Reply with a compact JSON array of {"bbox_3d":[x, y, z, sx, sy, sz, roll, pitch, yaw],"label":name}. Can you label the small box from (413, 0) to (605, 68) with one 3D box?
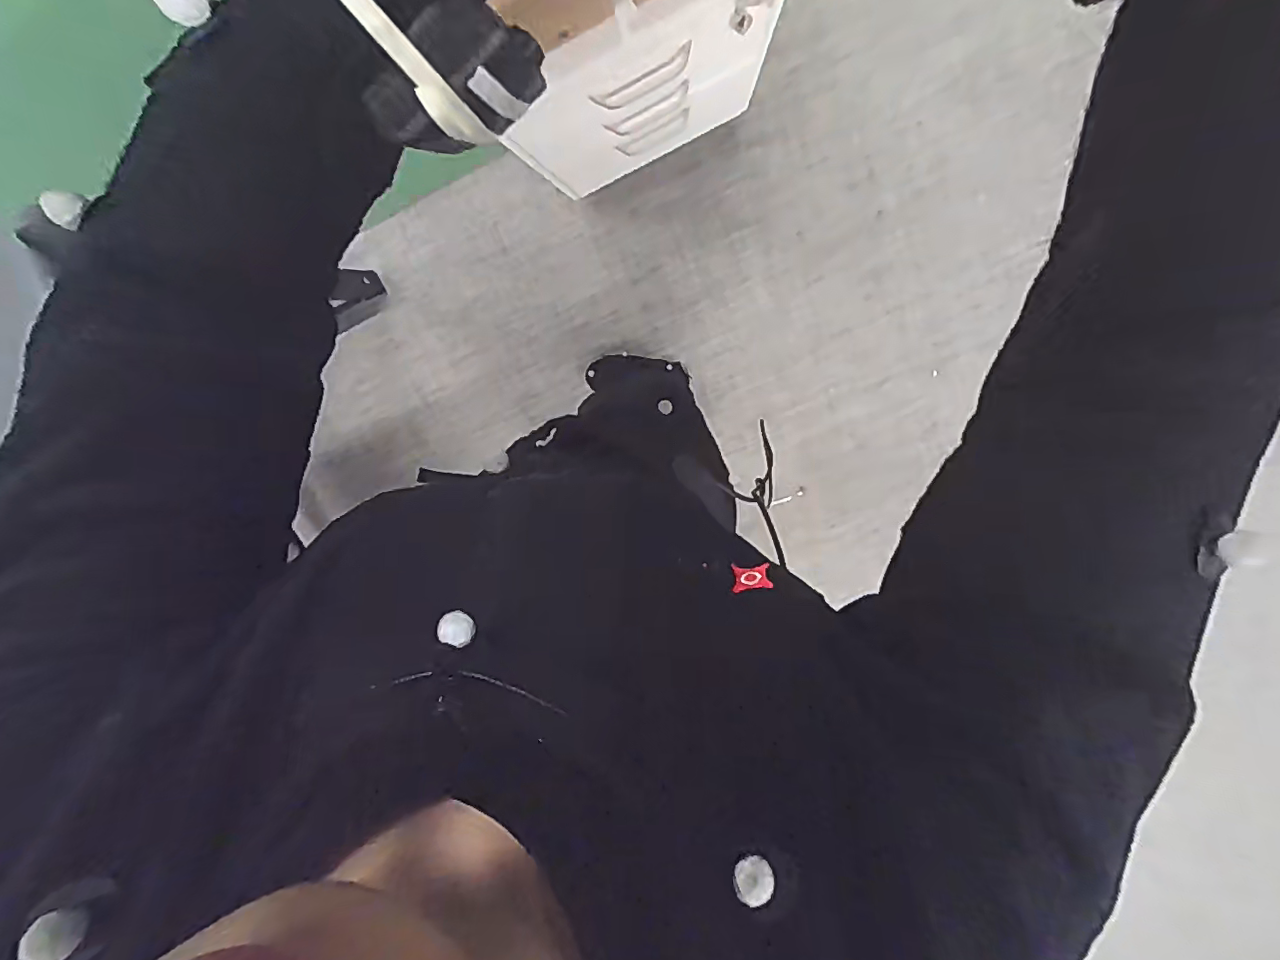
[{"bbox_3d":[-0.144,-0.531,0.505,0.168,0.176,0.179,-21,105,10],"label":"small box"}]
